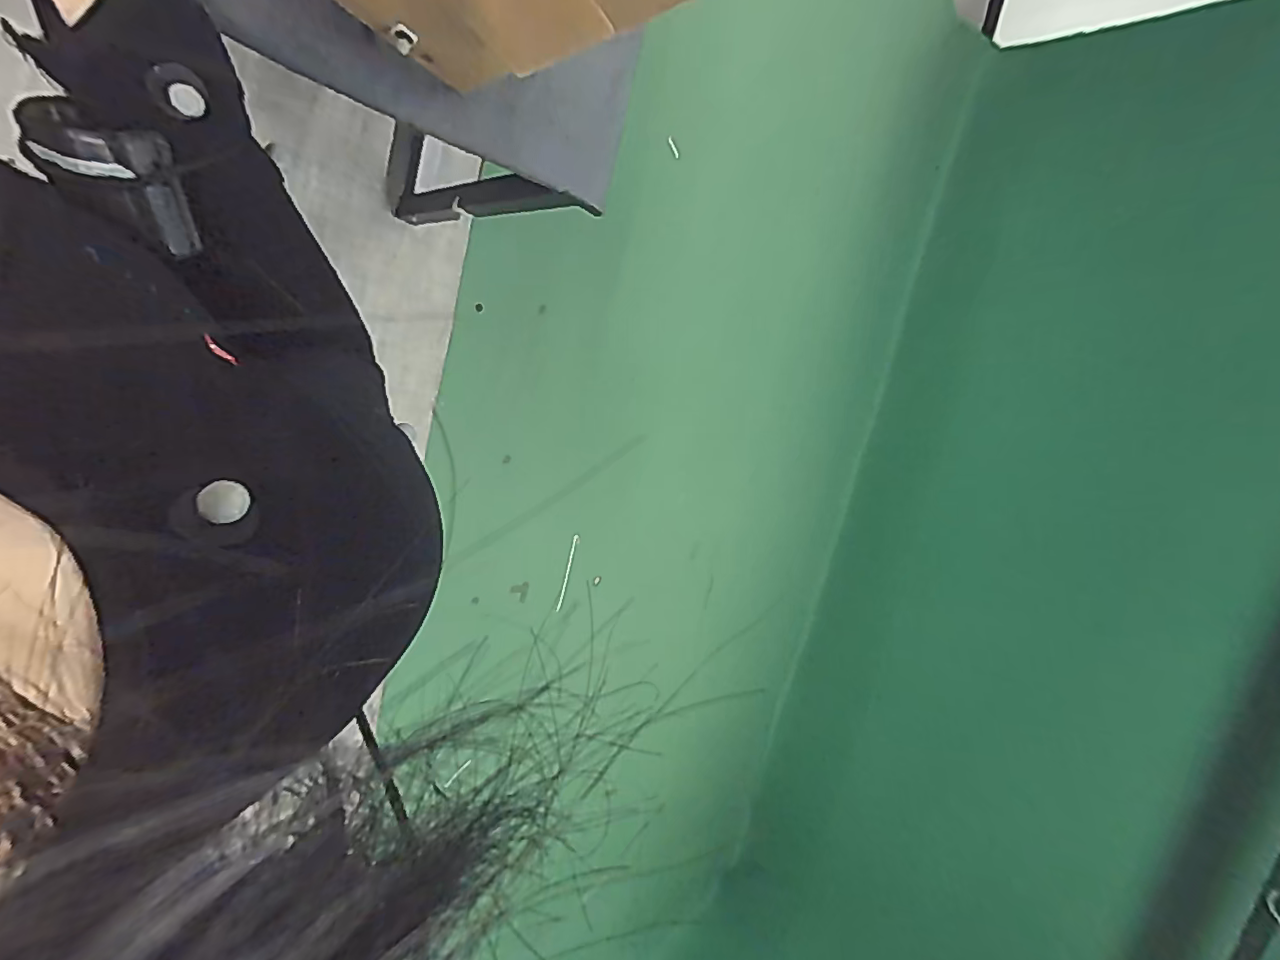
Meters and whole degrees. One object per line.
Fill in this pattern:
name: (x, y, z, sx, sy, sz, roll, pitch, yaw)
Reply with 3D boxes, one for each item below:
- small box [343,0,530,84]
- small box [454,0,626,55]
small box: (-0.211, -0.585, 0.590, 0.168, 0.176, 0.179, 8, 100, -47)
small box: (-0.100, -0.529, 0.484, 0.179, 0.176, 0.168, 24, 87, -47)
